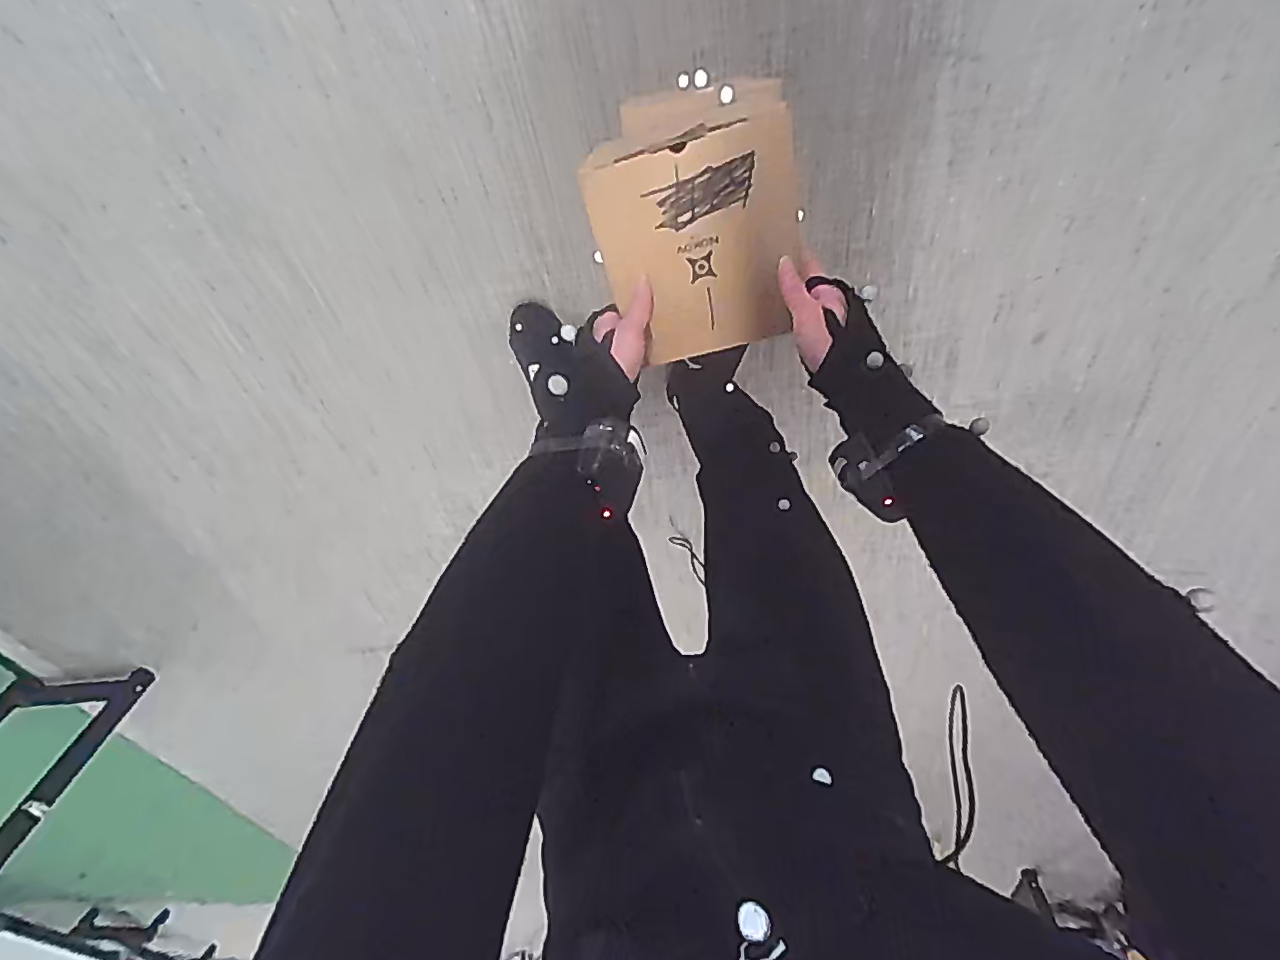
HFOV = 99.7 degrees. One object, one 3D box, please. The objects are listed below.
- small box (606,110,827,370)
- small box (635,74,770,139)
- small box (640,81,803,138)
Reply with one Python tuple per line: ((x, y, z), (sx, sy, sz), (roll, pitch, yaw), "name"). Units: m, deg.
((0.072, -0.227, 0.505), (0.168, 0.176, 0.179), (-7, 126, 10), "small box")
((0.095, -0.481, 0.799), (0.179, 0.176, 0.168), (-7, 126, 7), "small box")
((0.095, -0.366, 0.658), (0.168, 0.176, 0.179), (-6, 126, 6), "small box")
